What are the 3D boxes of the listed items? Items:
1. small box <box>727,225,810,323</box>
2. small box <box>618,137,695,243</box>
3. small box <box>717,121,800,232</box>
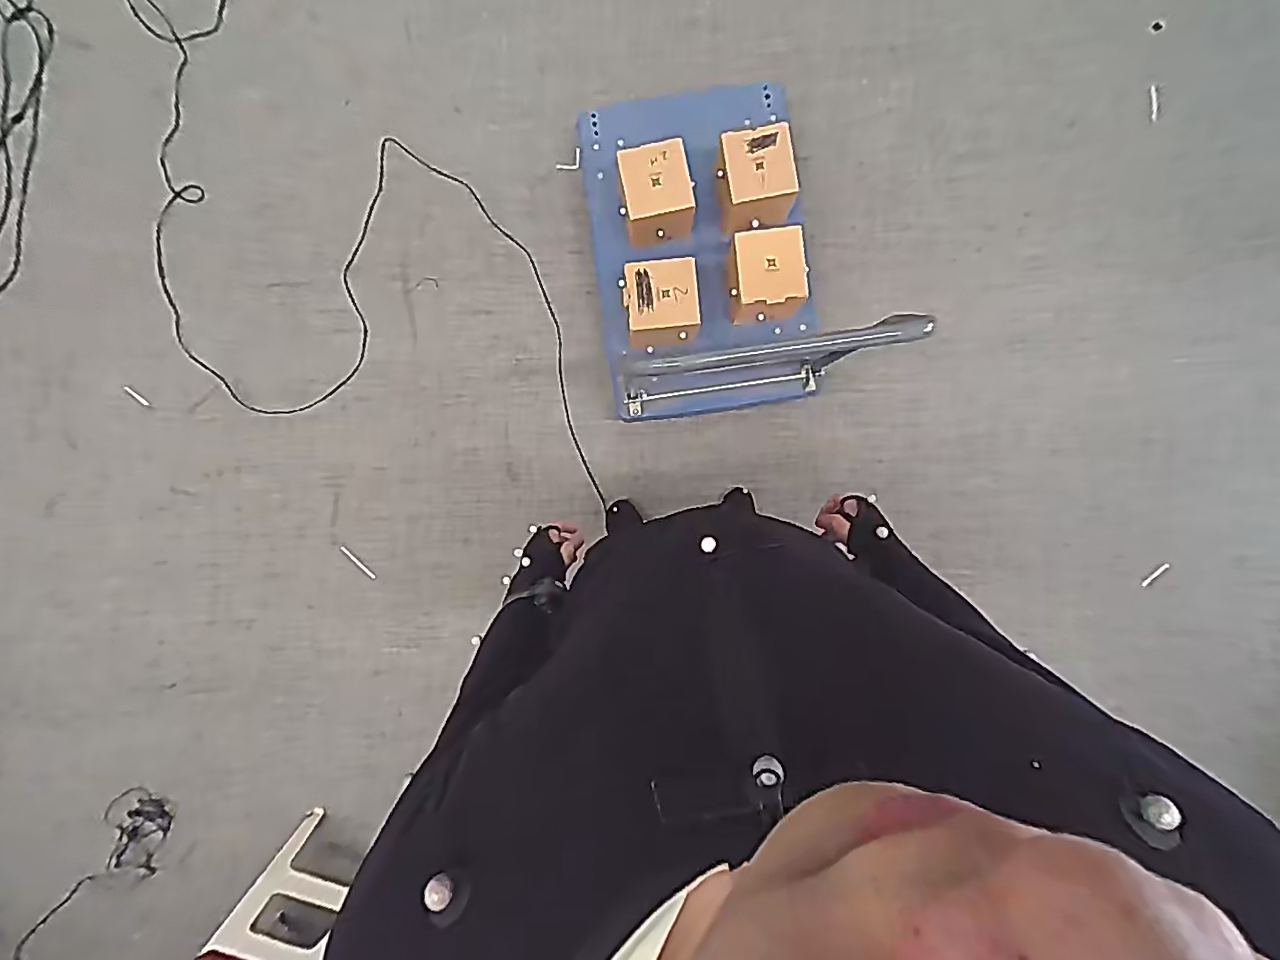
[{"bbox_3d":[0.322,-0.520,1.384,0.168,0.176,0.179,-6,89,2],"label":"small box"},{"bbox_3d":[0.042,-0.732,1.389,0.168,0.176,0.179,-11,89,1],"label":"small box"},{"bbox_3d":[0.295,-0.768,1.383,0.168,0.176,0.179,-9,90,2],"label":"small box"}]
